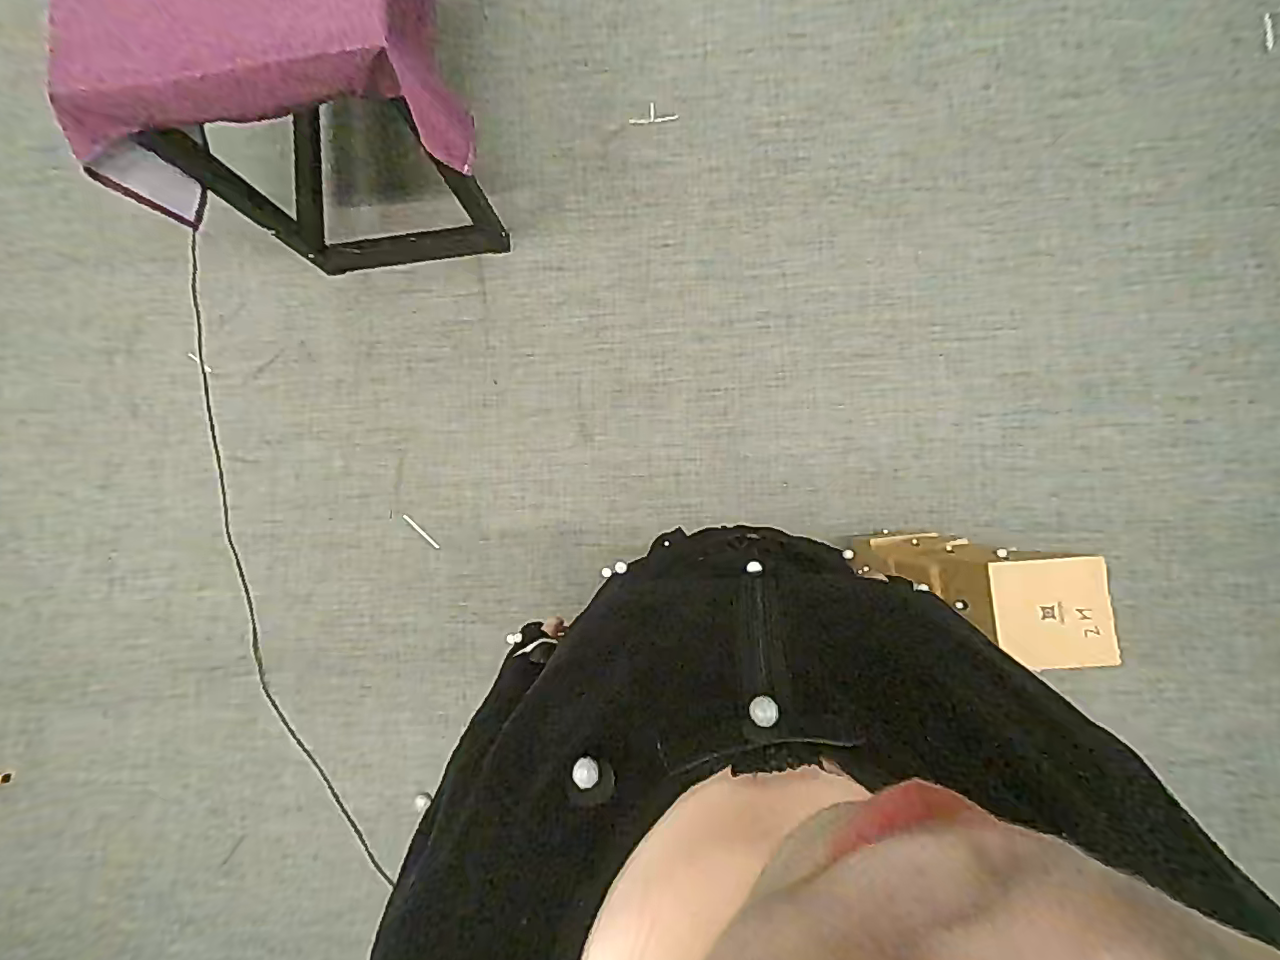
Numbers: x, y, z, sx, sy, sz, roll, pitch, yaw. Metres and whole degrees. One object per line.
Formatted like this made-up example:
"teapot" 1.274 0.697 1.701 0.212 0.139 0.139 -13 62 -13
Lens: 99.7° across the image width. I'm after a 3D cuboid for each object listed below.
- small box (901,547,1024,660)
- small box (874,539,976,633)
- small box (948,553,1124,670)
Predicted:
"small box" 0.642 0.234 1.059 0.168 0.176 0.179 -12 84 4
"small box" 0.652 0.233 1.223 0.179 0.176 0.168 -15 84 2
"small box" 0.636 0.210 0.896 0.179 0.176 0.168 -4 85 5
